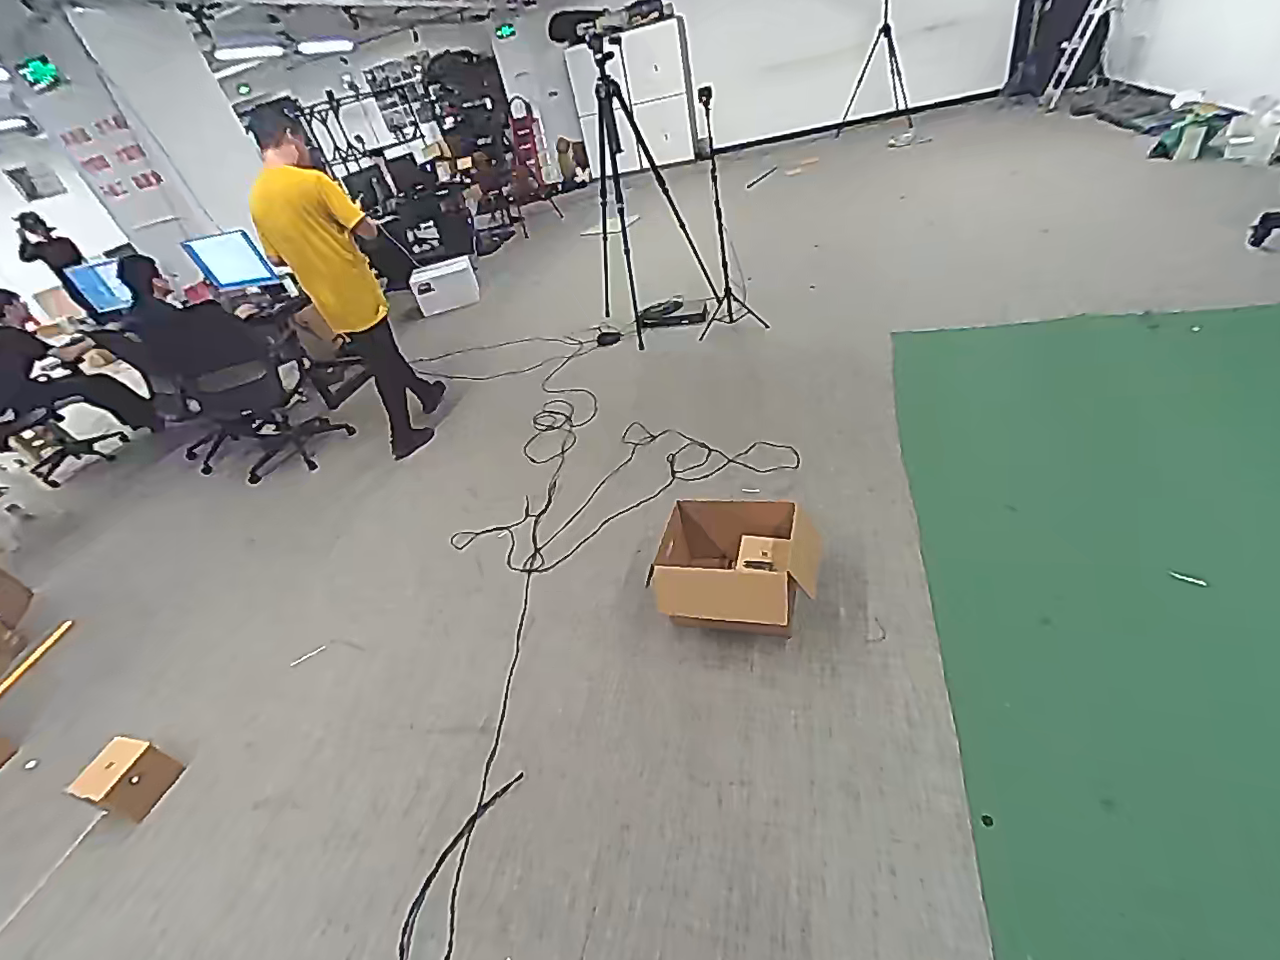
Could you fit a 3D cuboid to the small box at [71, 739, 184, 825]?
[{"bbox_3d":[-1.613,0.960,1.722,0.168,0.176,0.179,-1,40,18],"label":"small box"}]
